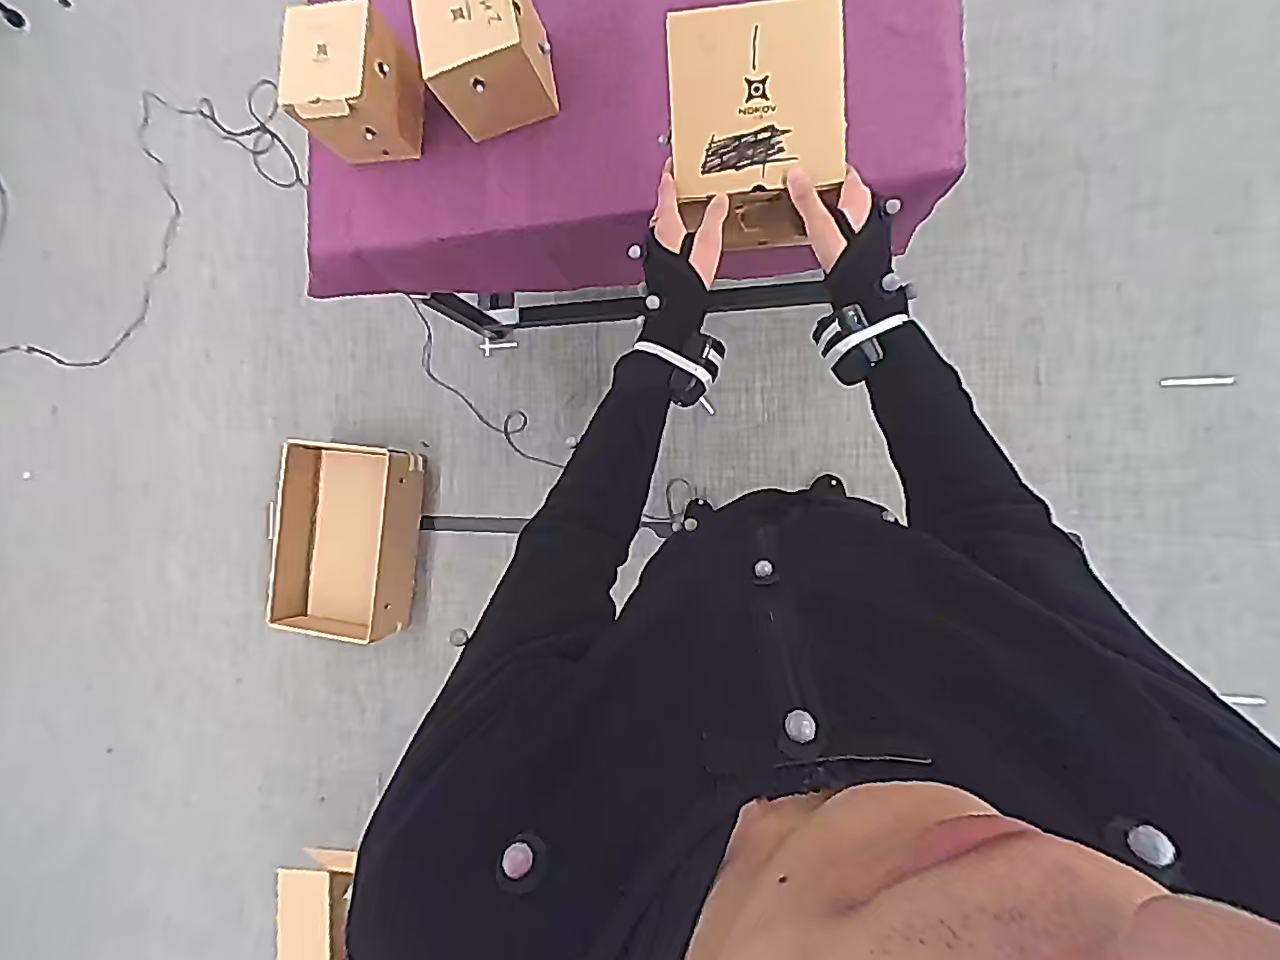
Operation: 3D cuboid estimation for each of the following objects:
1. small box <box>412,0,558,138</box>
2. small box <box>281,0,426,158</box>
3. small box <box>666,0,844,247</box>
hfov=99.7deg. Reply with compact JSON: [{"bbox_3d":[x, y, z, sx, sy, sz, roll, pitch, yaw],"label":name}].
[{"bbox_3d":[-0.261,-0.735,0.933,0.179,0.176,0.168,-10,87,12],"label":"small box"},{"bbox_3d":[-0.515,-0.717,0.990,0.168,0.176,0.179,4,89,12],"label":"small box"},{"bbox_3d":[0.117,-0.370,0.592,0.168,0.176,0.179,-2,94,5],"label":"small box"}]
